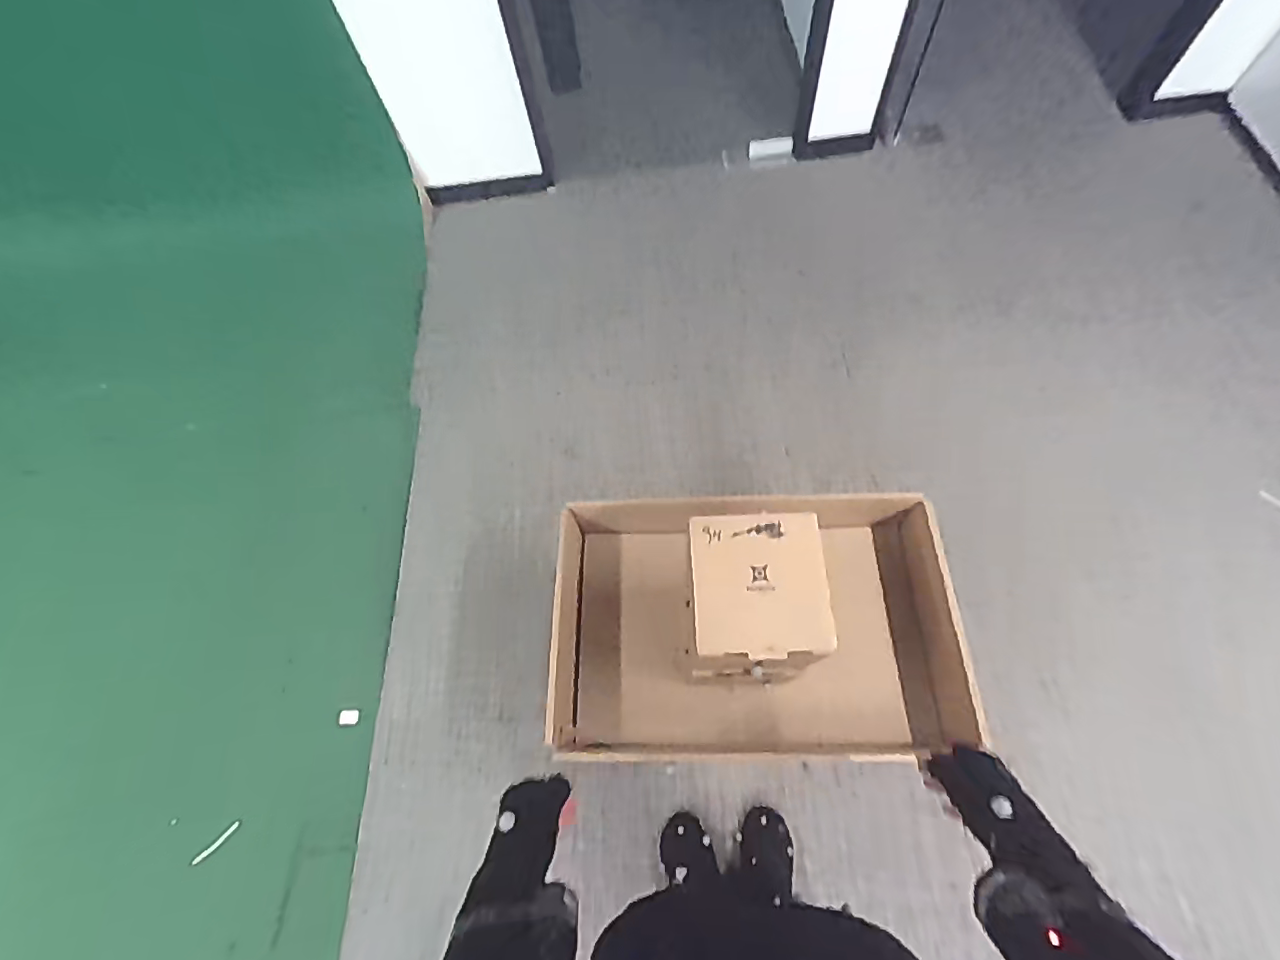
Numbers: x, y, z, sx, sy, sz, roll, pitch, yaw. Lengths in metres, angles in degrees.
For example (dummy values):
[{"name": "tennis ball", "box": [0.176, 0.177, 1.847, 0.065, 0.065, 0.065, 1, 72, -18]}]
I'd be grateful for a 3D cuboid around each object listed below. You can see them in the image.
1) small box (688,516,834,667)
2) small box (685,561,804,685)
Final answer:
[{"name": "small box", "box": [0.152, 0.160, 0.741, 0.168, 0.176, 0.179, -2, 66, 3]}, {"name": "small box", "box": [0.160, 0.238, 0.885, 0.168, 0.176, 0.179, -2, 63, 2]}]
